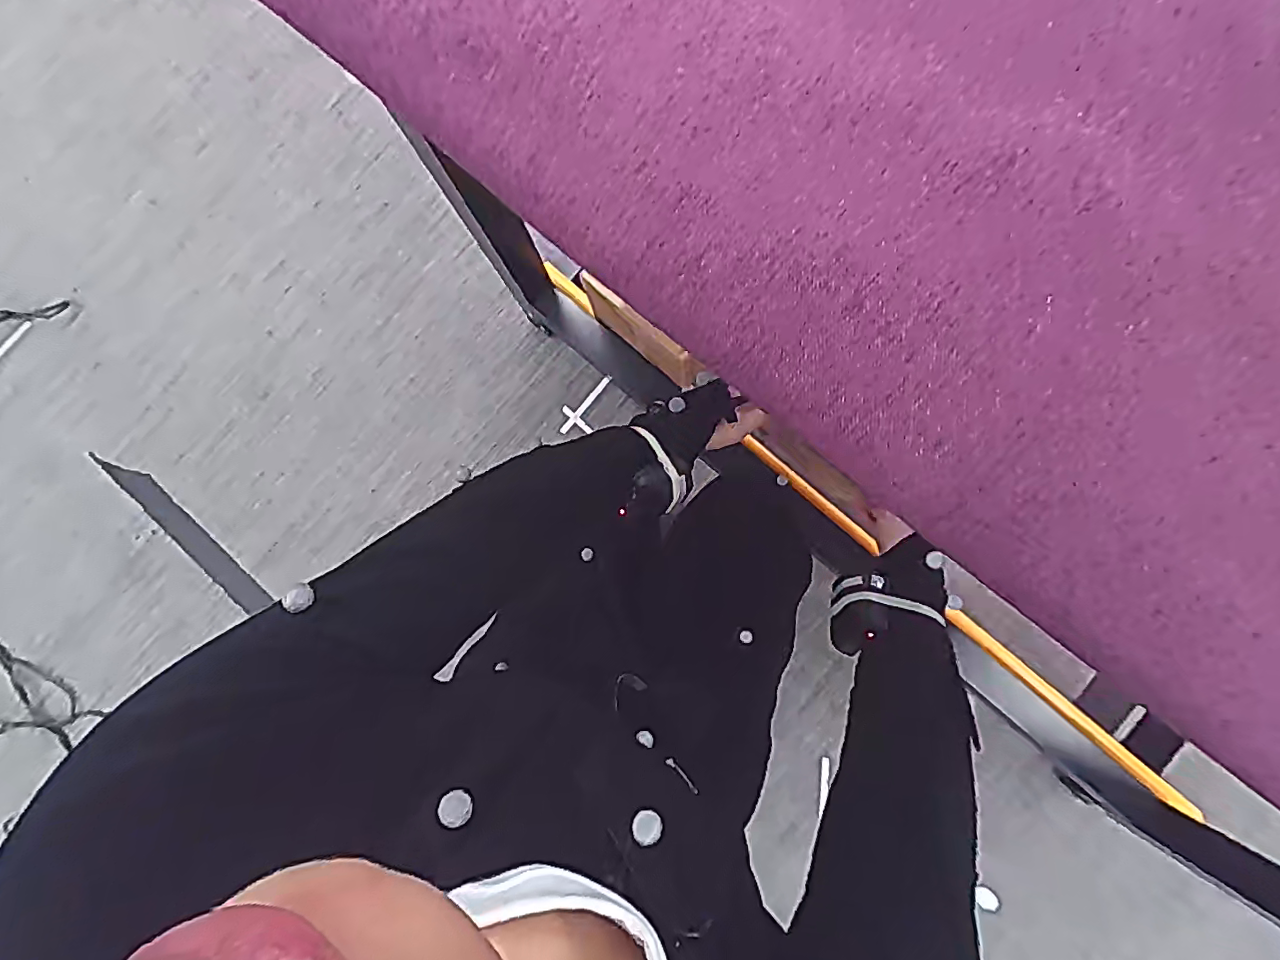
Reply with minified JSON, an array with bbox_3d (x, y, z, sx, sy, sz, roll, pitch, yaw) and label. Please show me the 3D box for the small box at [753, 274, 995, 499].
[{"bbox_3d":[0.252,-0.097,0.637,0.168,0.176,0.179,42,93,0],"label":"small box"}]
